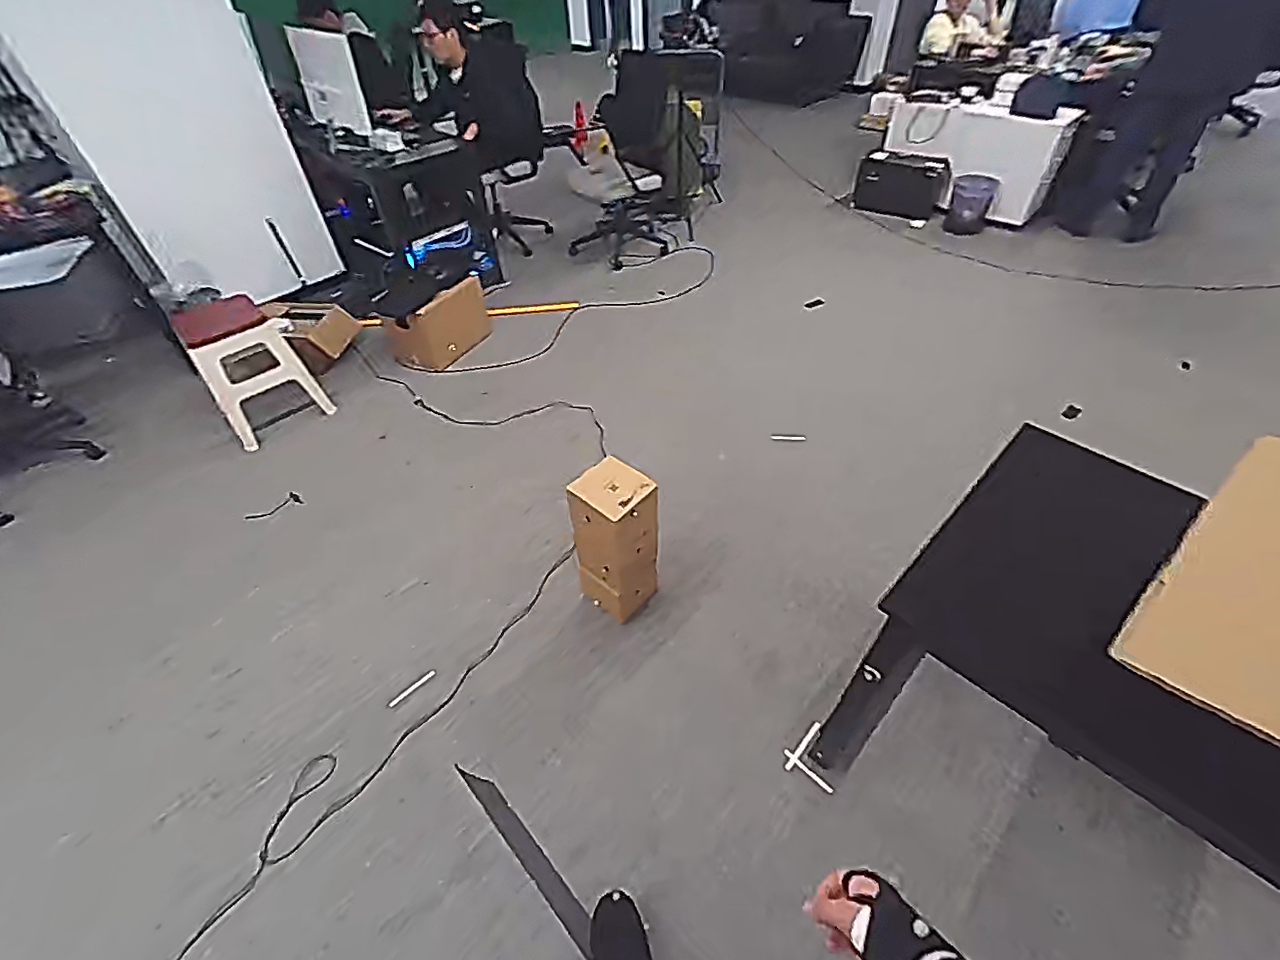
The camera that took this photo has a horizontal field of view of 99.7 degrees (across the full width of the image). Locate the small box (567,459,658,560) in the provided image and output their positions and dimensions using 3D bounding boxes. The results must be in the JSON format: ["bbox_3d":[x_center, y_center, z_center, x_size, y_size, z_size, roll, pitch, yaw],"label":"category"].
[{"bbox_3d":[-0.070,0.080,1.438,0.179,0.176,0.168,31,54,28],"label":"small box"}]

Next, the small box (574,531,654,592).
[{"bbox_3d":[-0.066,0.190,1.559,0.168,0.176,0.179,29,52,25],"label":"small box"}]

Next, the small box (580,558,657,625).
[{"bbox_3d":[-0.063,0.308,1.671,0.168,0.176,0.179,31,55,29],"label":"small box"}]
